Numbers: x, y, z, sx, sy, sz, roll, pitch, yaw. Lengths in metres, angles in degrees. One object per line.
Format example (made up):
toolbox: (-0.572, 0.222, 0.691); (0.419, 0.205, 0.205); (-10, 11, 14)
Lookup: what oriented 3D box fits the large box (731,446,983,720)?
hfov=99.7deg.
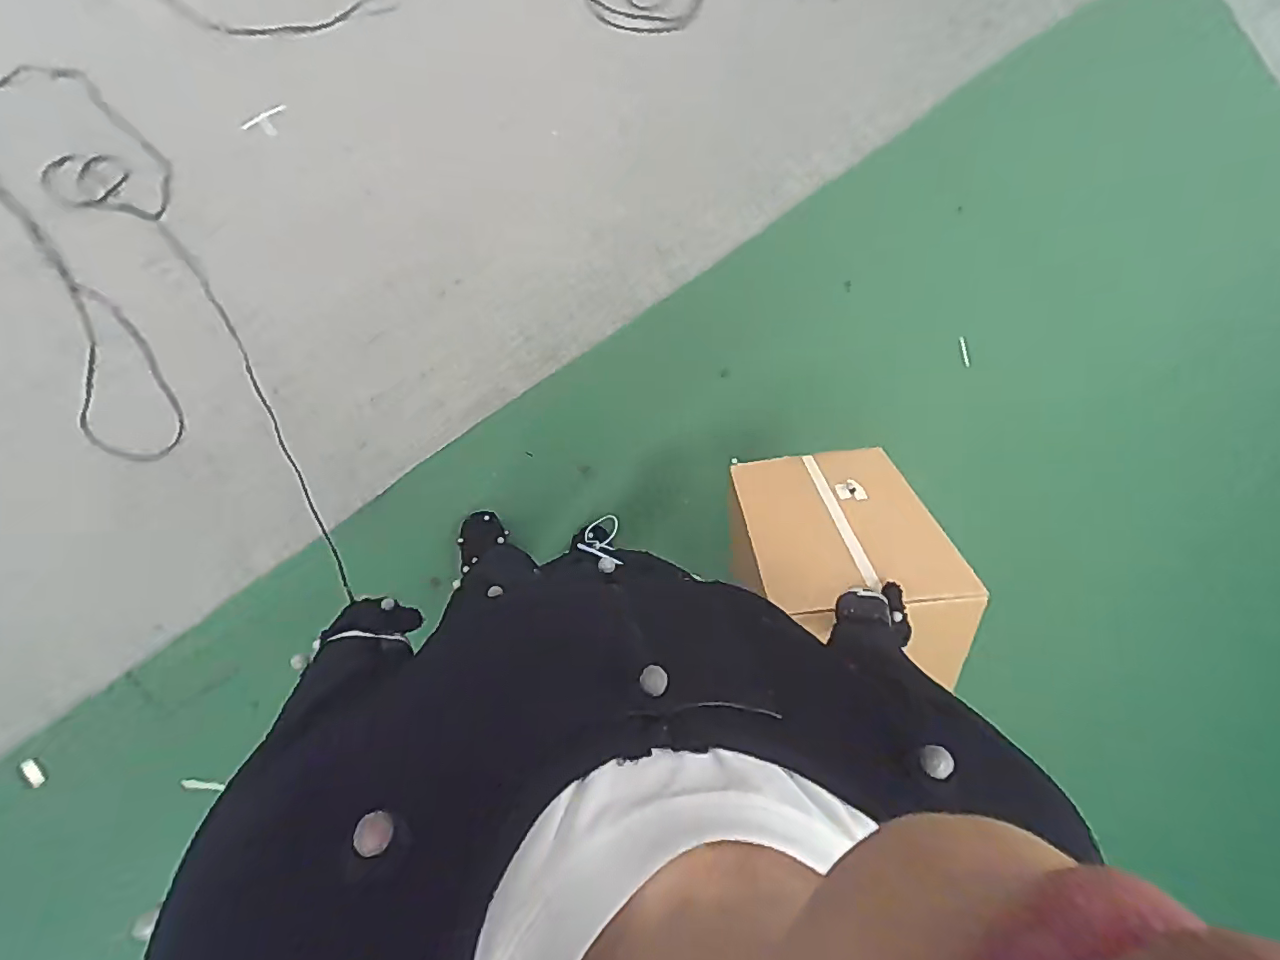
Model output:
large box: (0.369, 0.183, 1.040); (0.320, 0.408, 0.320); (-6, 125, 3)
